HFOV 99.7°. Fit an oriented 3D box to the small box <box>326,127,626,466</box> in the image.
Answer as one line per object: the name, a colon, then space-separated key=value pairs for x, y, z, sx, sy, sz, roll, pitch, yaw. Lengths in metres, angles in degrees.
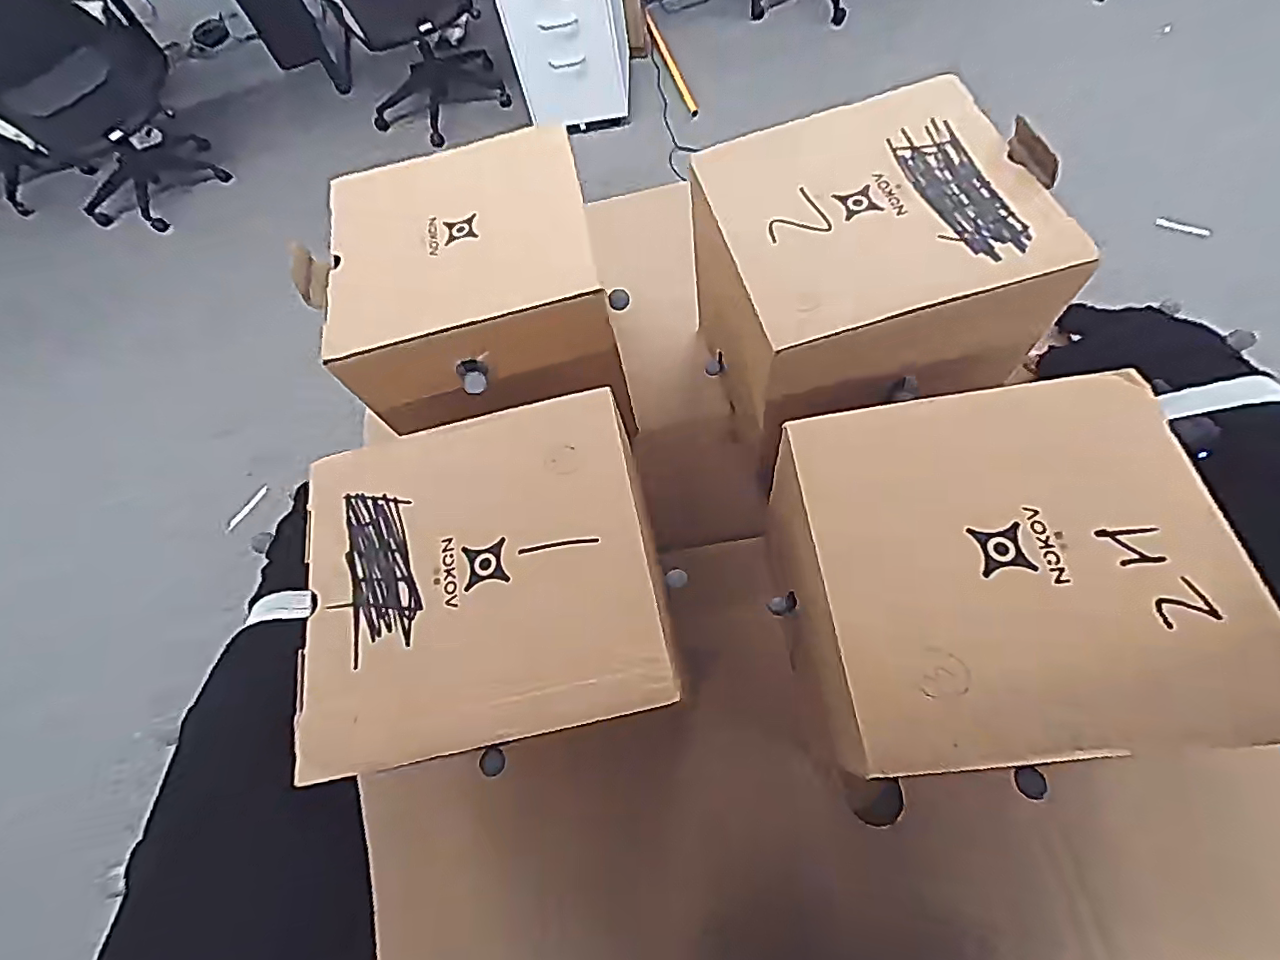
small box: x=-0.113 y=-0.132 z=0.434 sx=0.179 sy=0.176 sz=0.168 roll=-14 pitch=64 yaw=3
